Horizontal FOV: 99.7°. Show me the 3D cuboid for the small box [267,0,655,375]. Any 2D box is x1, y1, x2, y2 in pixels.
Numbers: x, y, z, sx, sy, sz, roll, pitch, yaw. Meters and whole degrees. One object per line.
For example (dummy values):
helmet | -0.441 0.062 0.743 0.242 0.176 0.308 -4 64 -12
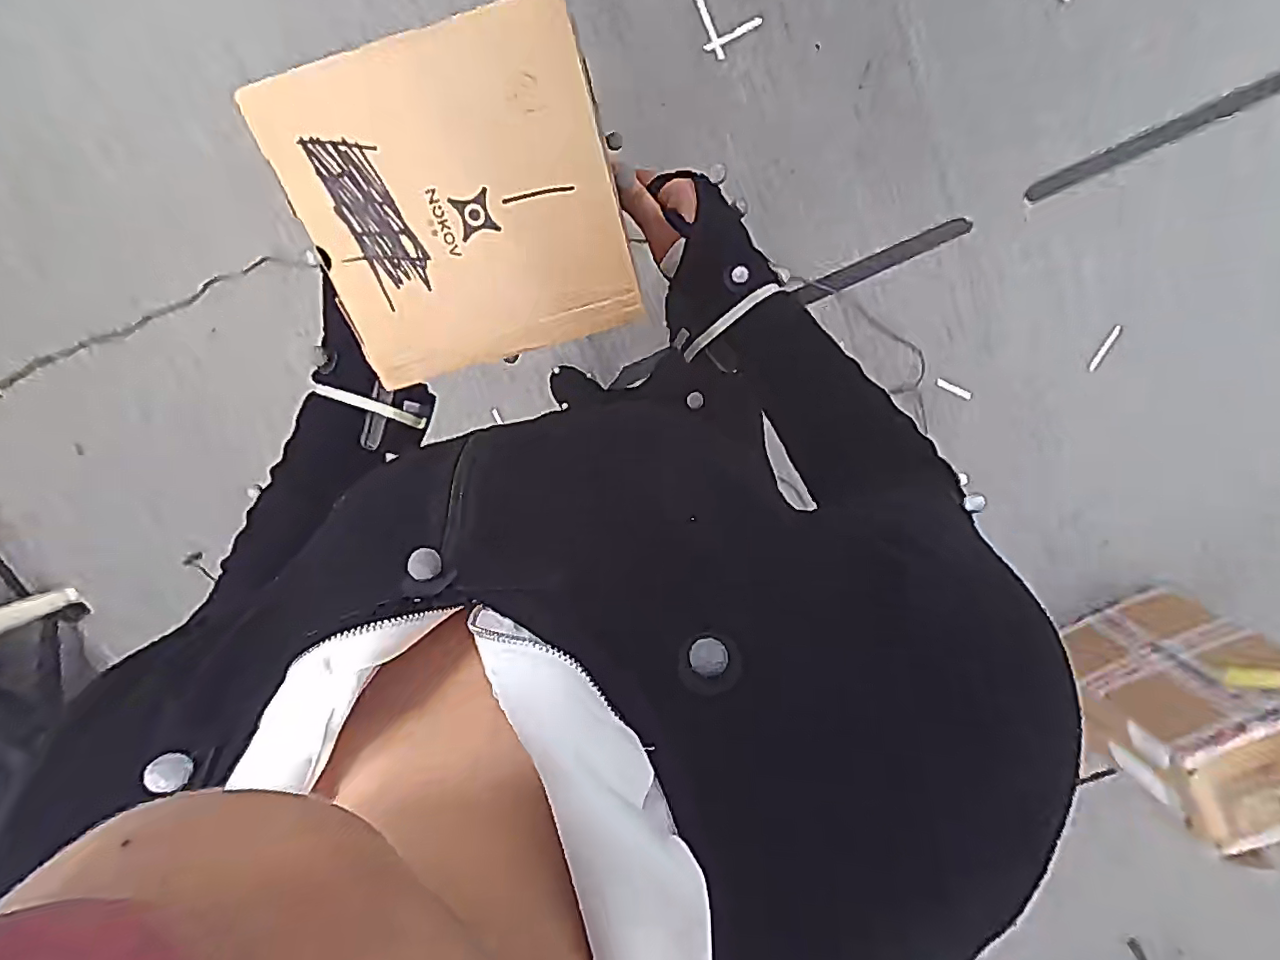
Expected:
small box | -0.095 -0.193 0.379 0.179 0.176 0.168 -14 119 4
